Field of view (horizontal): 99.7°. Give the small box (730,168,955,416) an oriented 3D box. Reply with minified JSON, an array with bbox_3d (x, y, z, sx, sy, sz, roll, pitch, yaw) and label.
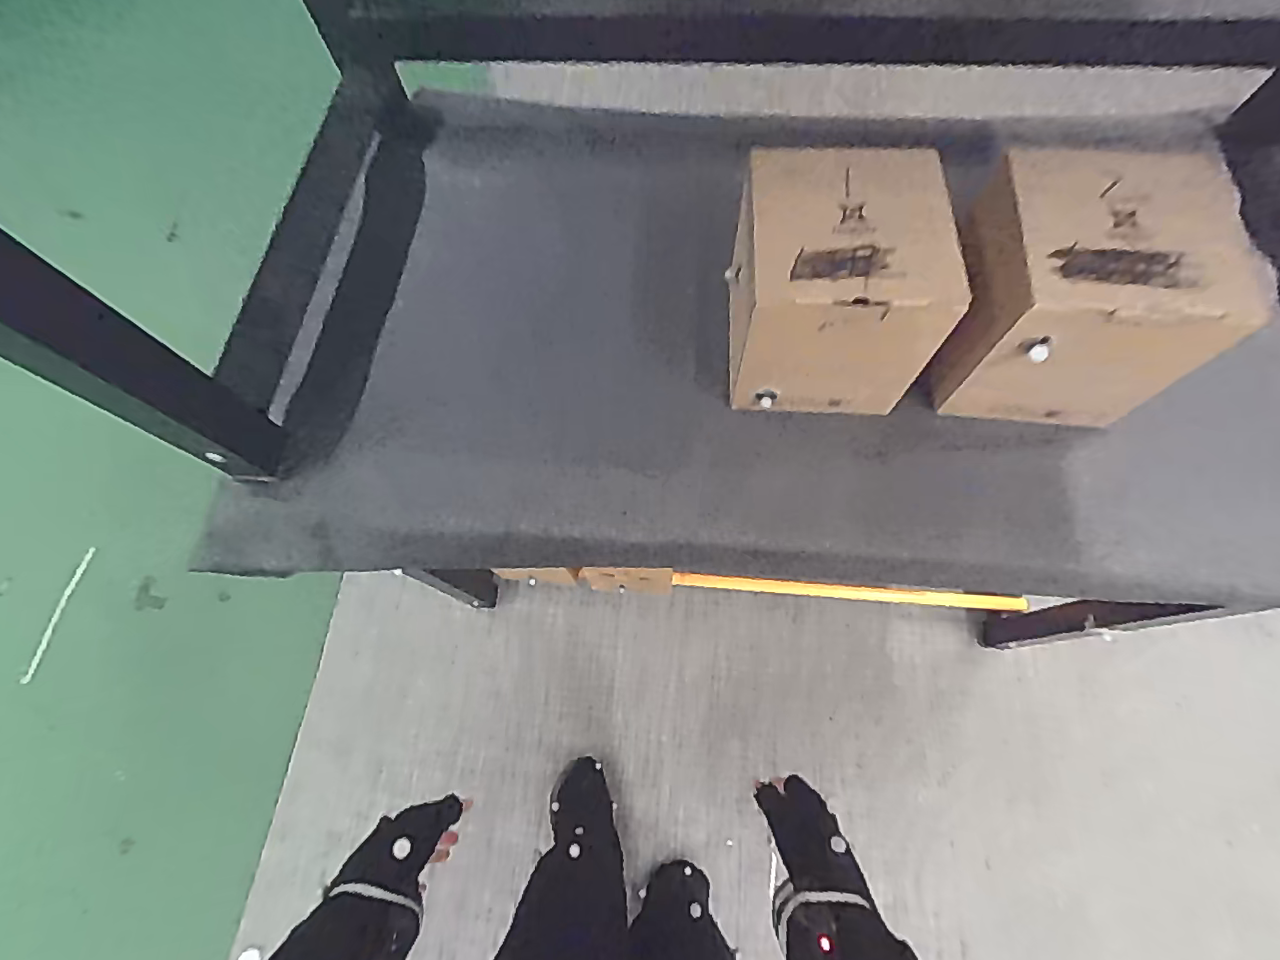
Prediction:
[{"bbox_3d":[0.182,-0.178,0.544,0.168,0.176,0.179,2,66,4],"label":"small box"}]
